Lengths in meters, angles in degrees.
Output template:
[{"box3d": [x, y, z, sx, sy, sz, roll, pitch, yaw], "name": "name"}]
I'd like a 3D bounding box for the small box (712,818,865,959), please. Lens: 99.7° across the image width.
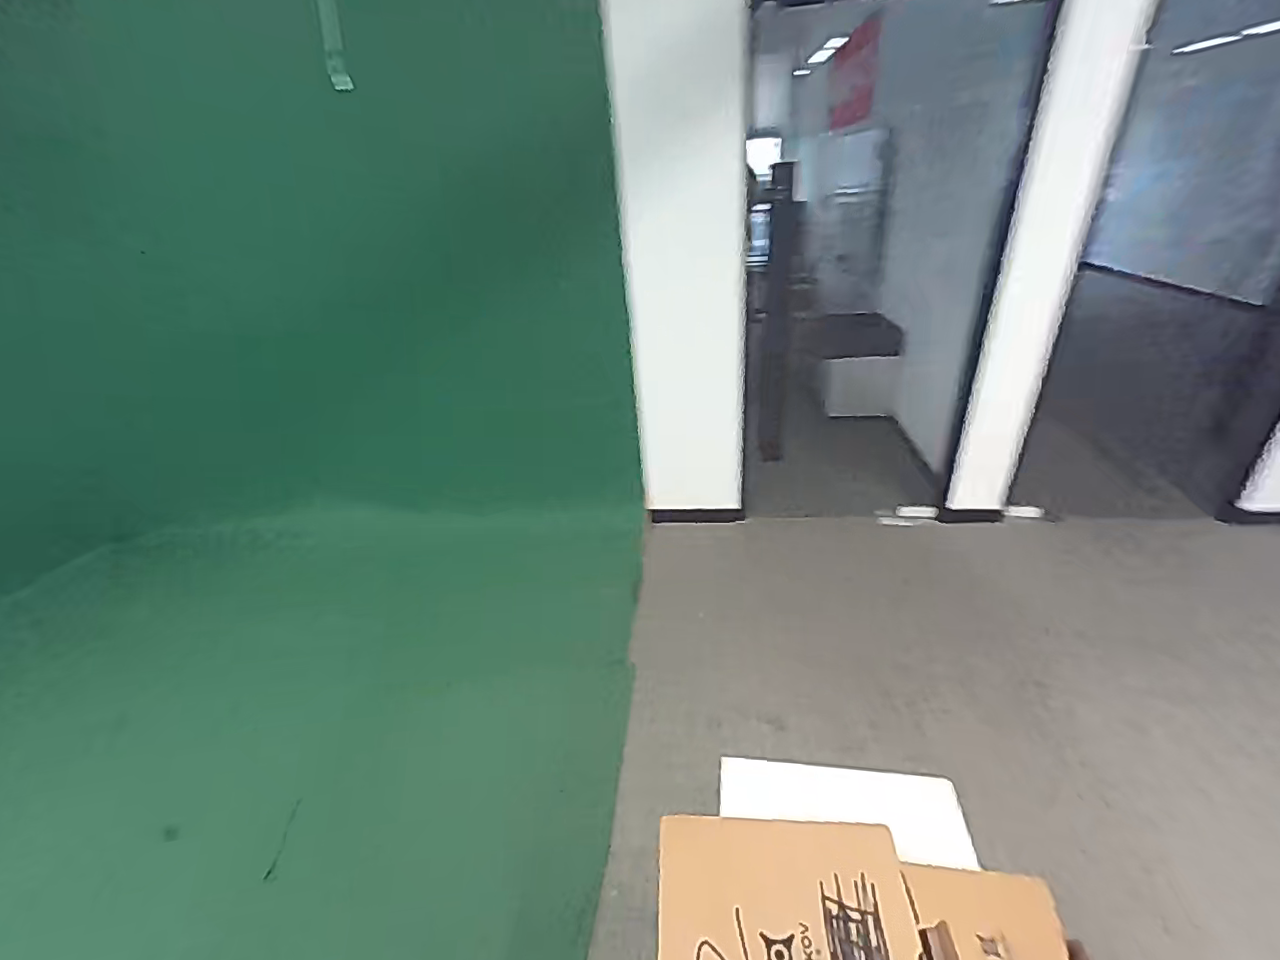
[{"box3d": [0.189, 0.591, 0.724, 0.179, 0.176, 0.168, 2, 30, 10], "name": "small box"}]
